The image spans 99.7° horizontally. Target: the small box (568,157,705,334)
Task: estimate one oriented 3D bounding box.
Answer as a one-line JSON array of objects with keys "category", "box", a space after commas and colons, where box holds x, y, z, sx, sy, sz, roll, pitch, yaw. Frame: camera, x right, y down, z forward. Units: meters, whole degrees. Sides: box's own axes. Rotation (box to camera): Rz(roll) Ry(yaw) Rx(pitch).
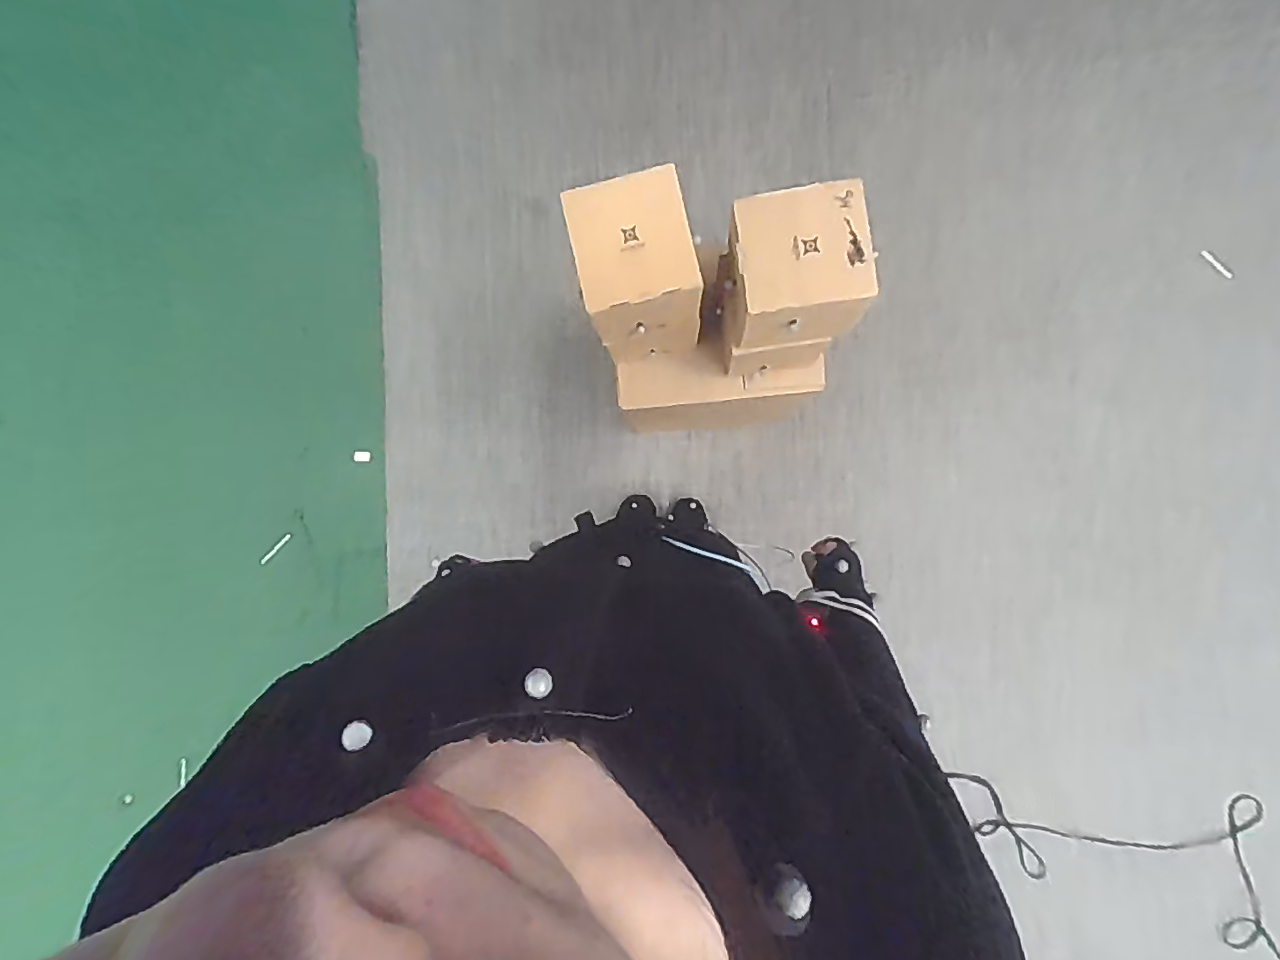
[{"category": "small box", "box": [-0.003, -0.344, 0.825, 0.168, 0.176, 0.179, -12, 89, 3]}]
